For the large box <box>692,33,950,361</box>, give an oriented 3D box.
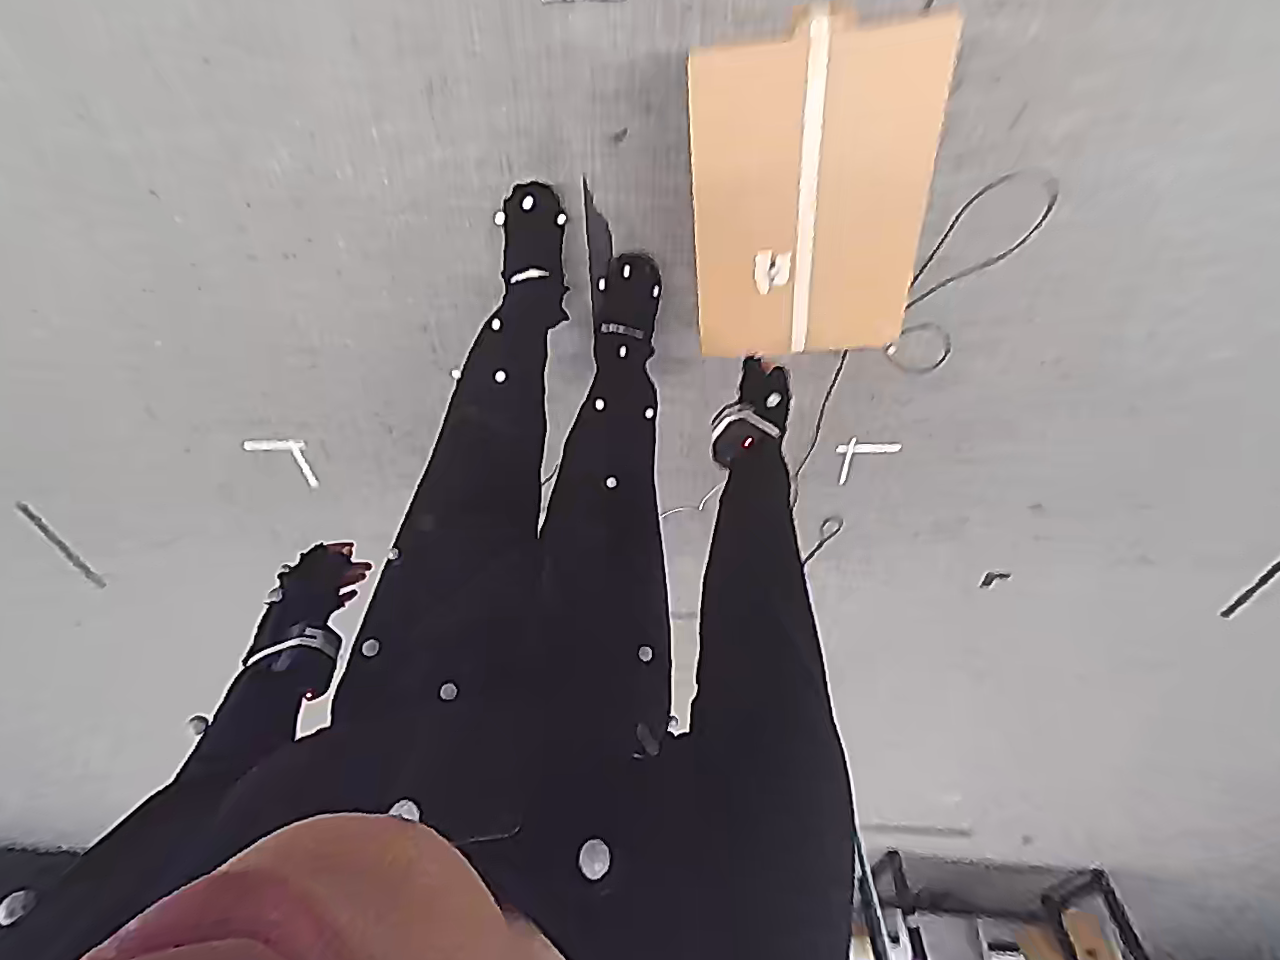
[{"bbox_3d":[0.253,-0.458,0.894,0.320,0.320,0.408,-2,130,8],"label":"large box"}]
